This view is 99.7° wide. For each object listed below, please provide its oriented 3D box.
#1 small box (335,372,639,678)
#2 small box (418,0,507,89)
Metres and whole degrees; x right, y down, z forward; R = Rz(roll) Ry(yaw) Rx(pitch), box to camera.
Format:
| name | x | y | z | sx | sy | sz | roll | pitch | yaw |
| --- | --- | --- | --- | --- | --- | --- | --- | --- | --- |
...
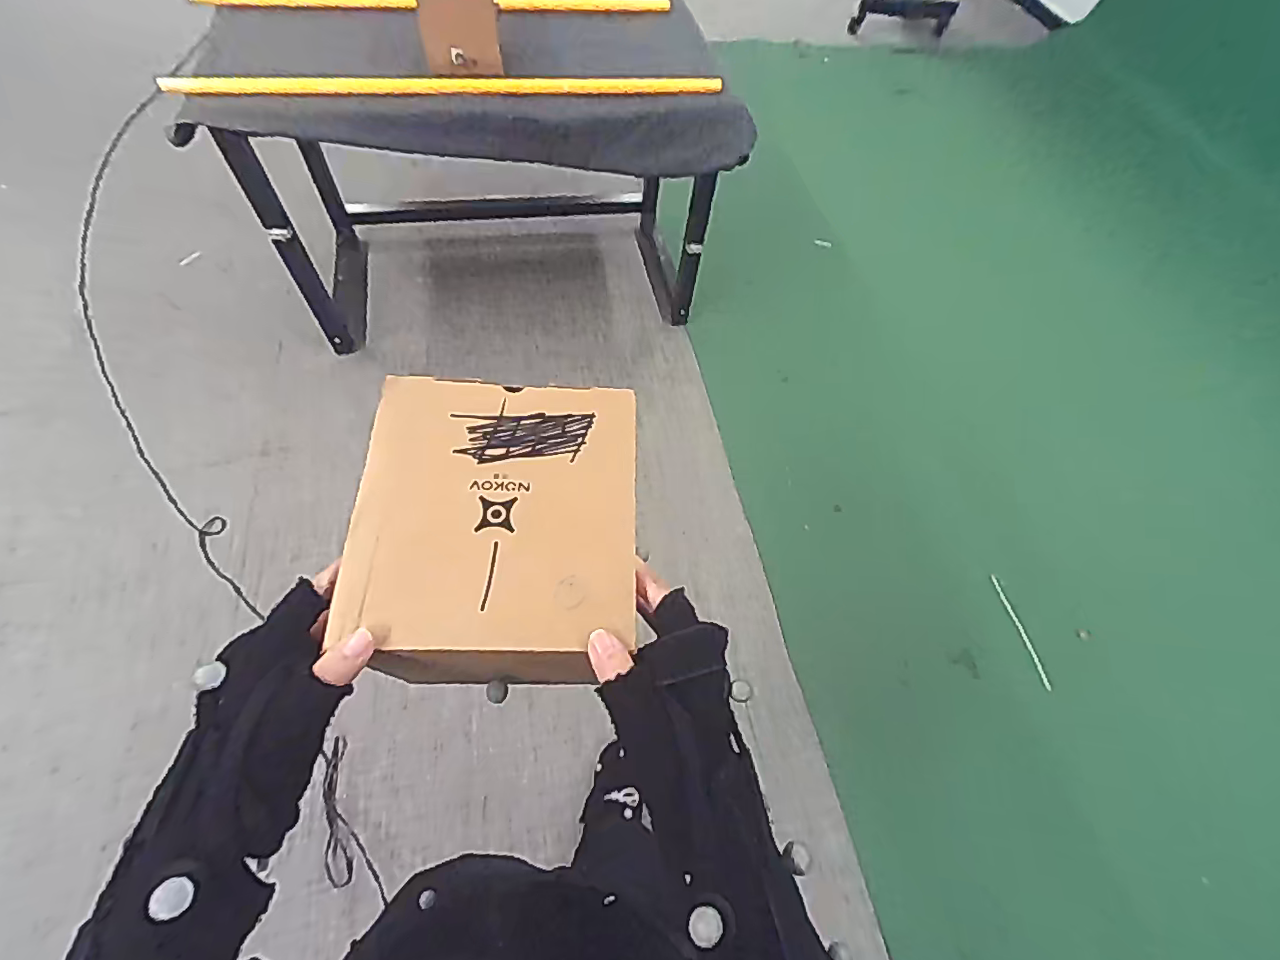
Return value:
| name | x | y | z | sx | sy | sz | roll | pitch | yaw |
| --- | --- | --- | --- | --- | --- | --- | --- | --- | --- |
| small box | -0.090 | 0.044 | 0.402 | 0.168 | 0.176 | 0.179 | 2 | 64 | -5 |
| small box | -0.410 | -1.043 | 1.254 | 0.168 | 0.176 | 0.179 | -9 | 62 | -9 |
